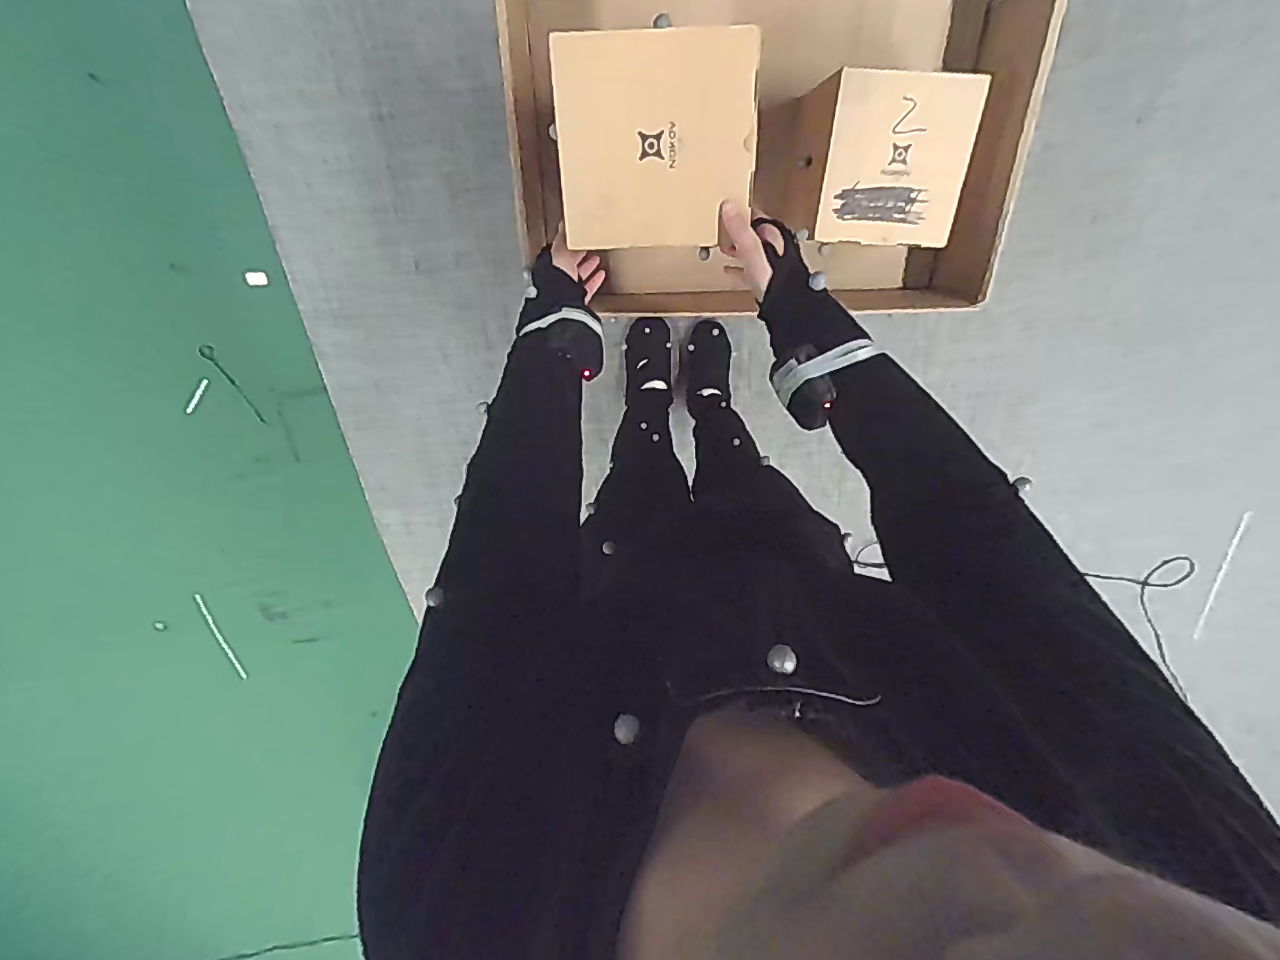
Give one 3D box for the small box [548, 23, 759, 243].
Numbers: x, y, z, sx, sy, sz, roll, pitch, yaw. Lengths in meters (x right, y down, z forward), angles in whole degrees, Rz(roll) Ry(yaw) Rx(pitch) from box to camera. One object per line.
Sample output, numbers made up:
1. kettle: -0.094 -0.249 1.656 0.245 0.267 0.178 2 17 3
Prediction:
1. small box: 0.011 -0.333 0.547 0.179 0.176 0.168 -2 117 -1
